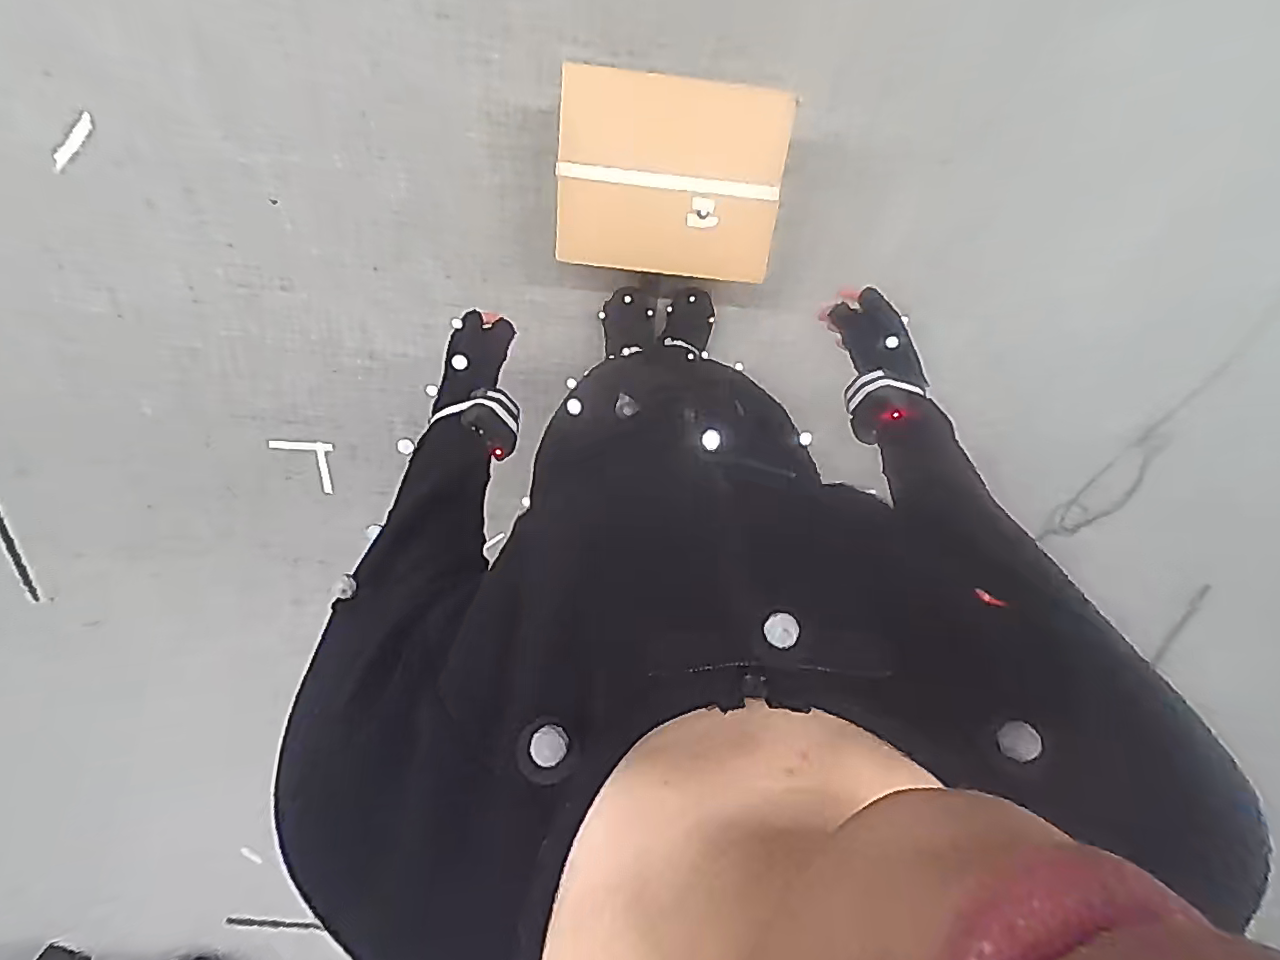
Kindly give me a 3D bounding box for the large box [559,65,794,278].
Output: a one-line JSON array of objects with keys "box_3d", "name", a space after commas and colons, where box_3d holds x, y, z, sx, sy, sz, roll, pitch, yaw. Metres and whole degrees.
[{"box_3d": [0.050, -0.604, 1.111, 0.408, 0.320, 0.320, 5, 115, -4], "name": "large box"}]
